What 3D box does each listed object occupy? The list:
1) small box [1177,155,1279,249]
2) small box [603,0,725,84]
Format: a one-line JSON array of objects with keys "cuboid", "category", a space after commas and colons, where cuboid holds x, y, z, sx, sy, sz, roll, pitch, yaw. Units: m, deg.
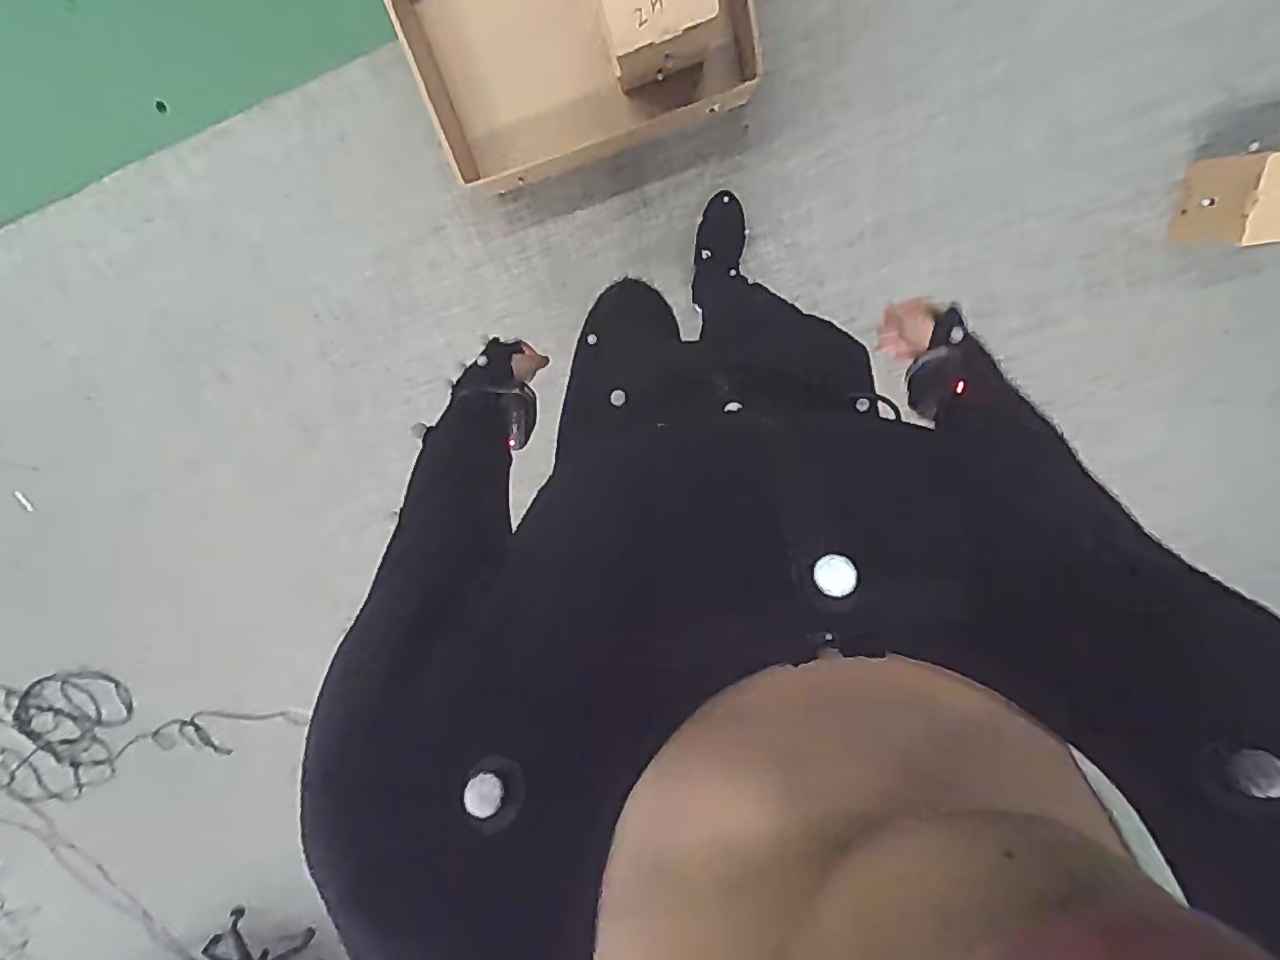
[{"cuboid": [1.286, -0.576, 1.116, 0.179, 0.176, 0.168, -5, 116, 6], "category": "small box"}, {"cuboid": [0.027, -0.756, 0.838, 0.168, 0.176, 0.179, -14, 116, 11], "category": "small box"}]
